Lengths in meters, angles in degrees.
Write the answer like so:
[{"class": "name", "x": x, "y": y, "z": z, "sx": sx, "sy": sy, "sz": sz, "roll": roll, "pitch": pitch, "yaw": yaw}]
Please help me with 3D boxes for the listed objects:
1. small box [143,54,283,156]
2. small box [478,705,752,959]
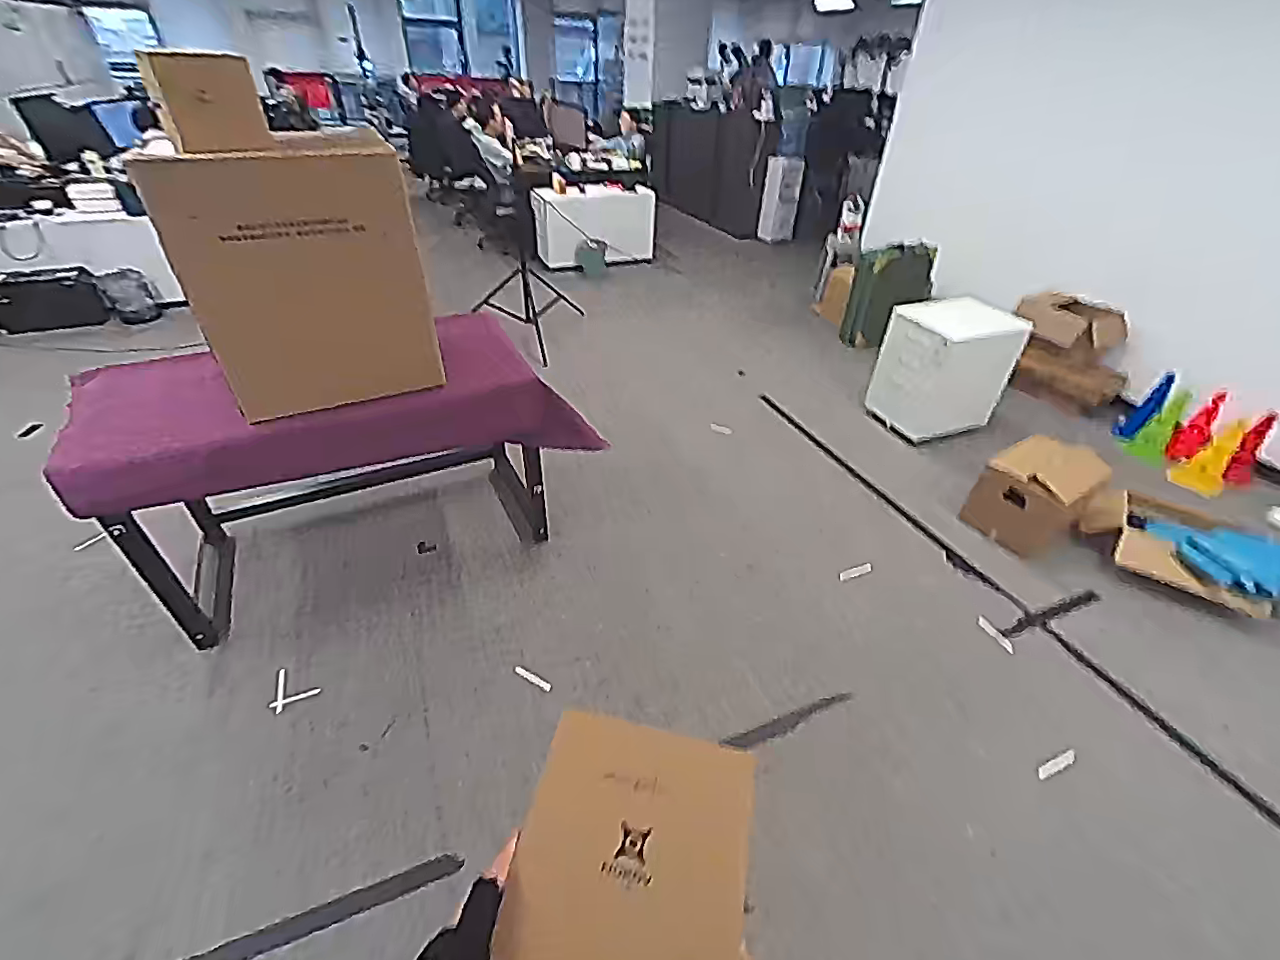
[{"class": "small box", "x": -0.926, "y": -0.819, "z": 1.182, "sx": 0.179, "sy": 0.176, "sz": 0.168, "roll": -28, "pitch": 49, "yaw": -33}, {"class": "small box", "x": -0.009, "y": 0.322, "z": 0.445, "sx": 0.168, "sy": 0.176, "sz": 0.179, "roll": 10, "pitch": 43, "yaw": 7}]
